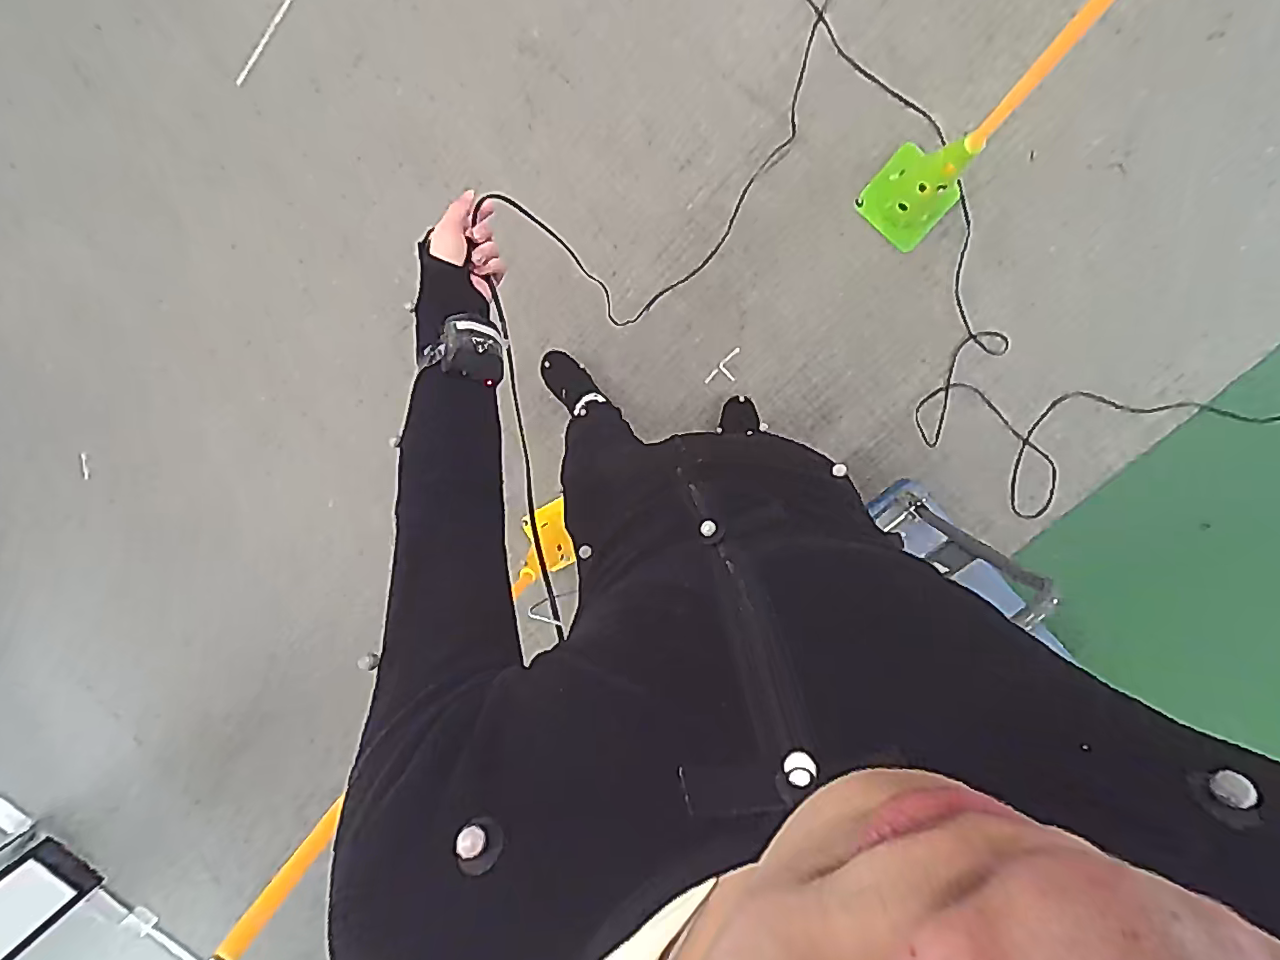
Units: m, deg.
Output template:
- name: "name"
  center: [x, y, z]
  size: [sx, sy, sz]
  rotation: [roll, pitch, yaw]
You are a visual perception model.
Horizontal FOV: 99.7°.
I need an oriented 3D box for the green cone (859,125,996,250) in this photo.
- name: "green cone"
  center: [0.680, -0.691, 1.215]
  size: [0.200, 0.368, 0.202]
  rotation: [40, 102, -4]
